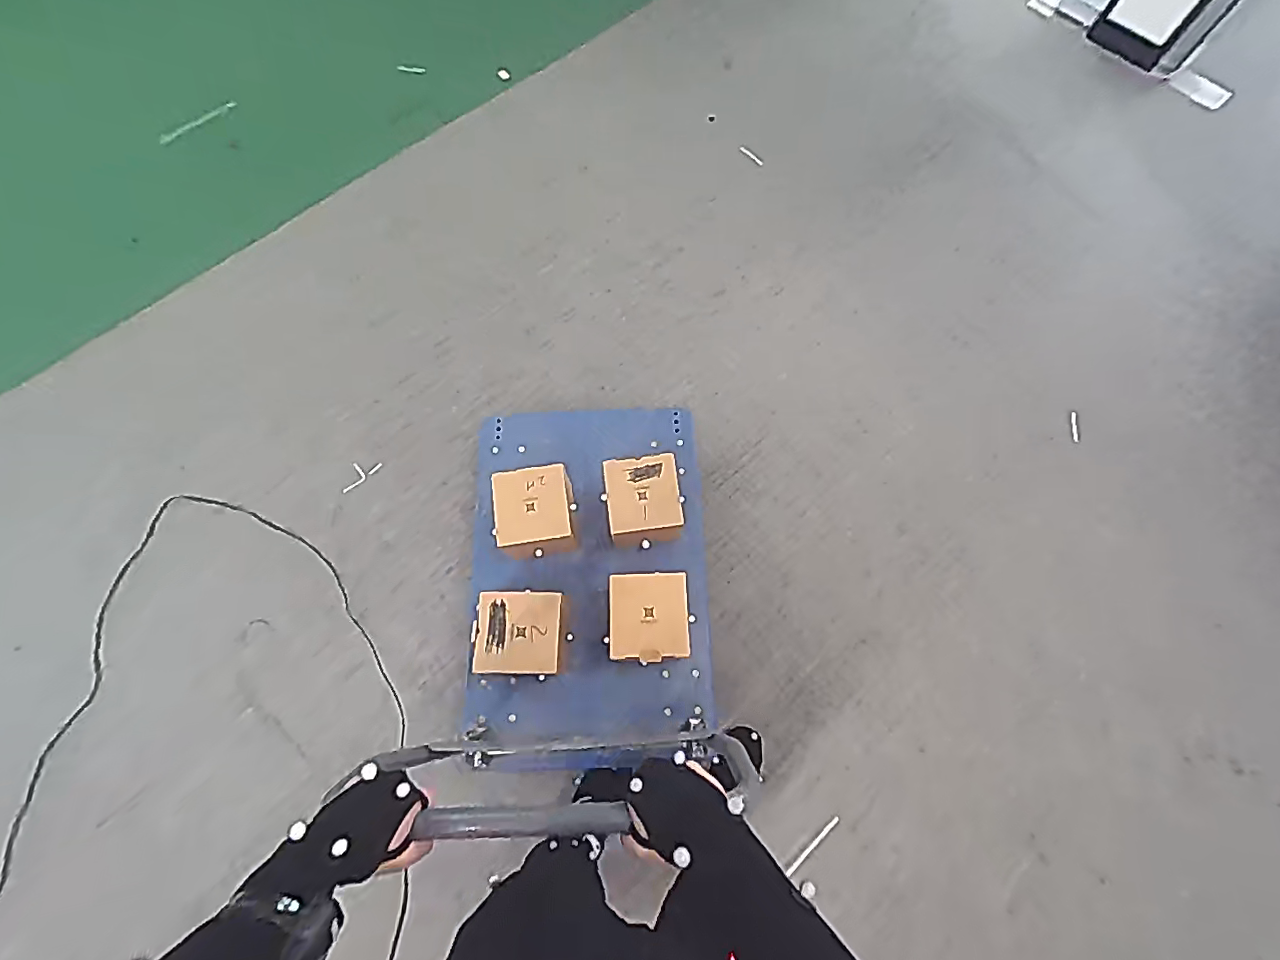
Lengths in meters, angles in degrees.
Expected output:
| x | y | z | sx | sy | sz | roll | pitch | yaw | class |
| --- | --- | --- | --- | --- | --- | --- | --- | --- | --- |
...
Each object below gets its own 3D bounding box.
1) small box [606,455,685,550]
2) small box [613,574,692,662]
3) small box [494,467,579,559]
| x | y | z | sx | sy | sz | roll | pitch | yaw | class |
| --- | --- | --- | --- | --- | --- | --- | --- | --- | --- |
| 0.010 | 0.059 | 1.297 | 0.168 | 0.176 | 0.179 | -7 | 72 | -2 | small box |
| 0.023 | 0.312 | 1.211 | 0.168 | 0.176 | 0.179 | -2 | 72 | 0 | small box |
| -0.242 | 0.086 | 1.288 | 0.168 | 0.176 | 0.179 | -8 | 71 | -3 | small box |
